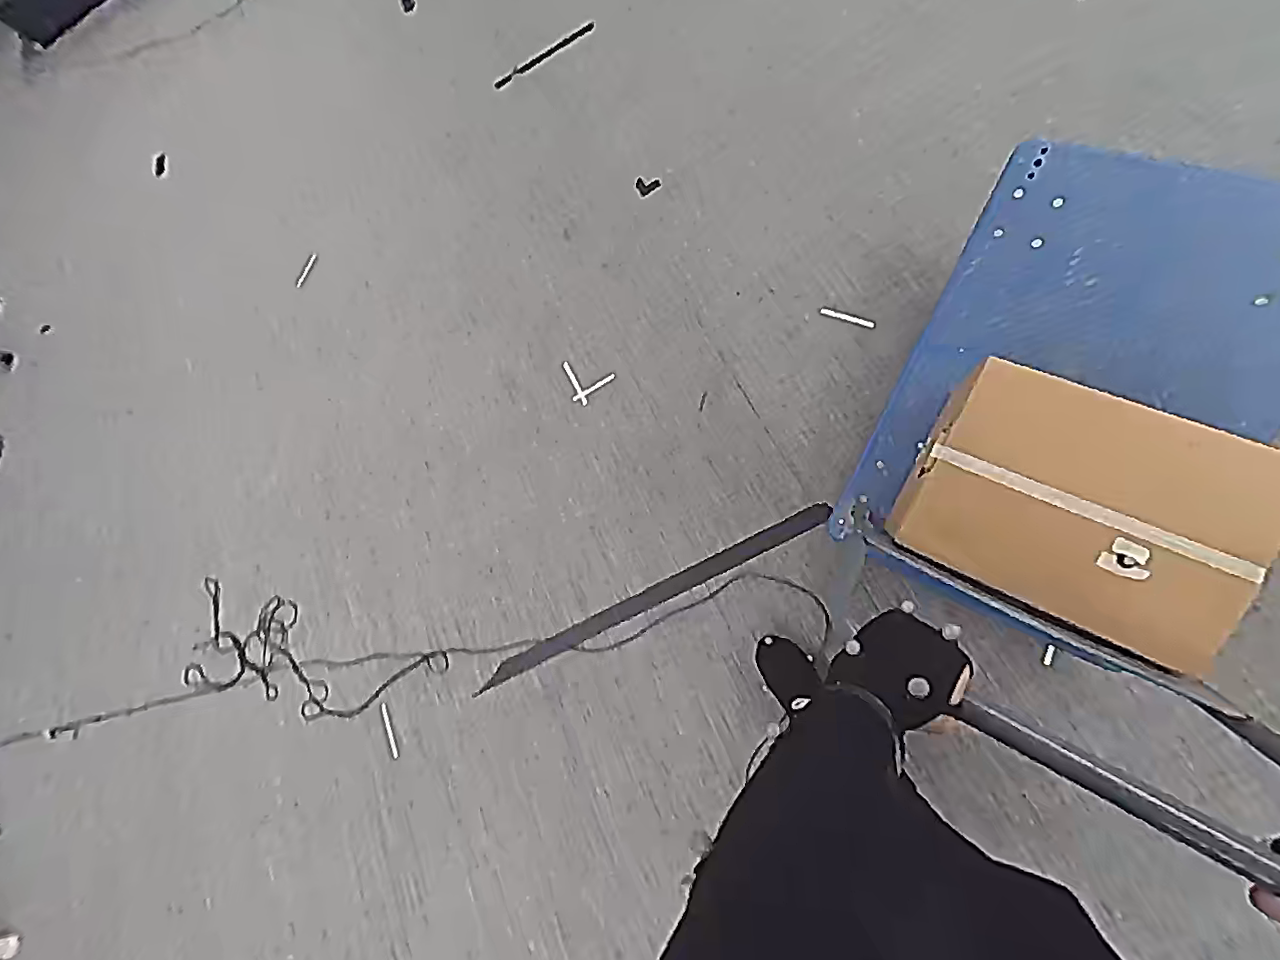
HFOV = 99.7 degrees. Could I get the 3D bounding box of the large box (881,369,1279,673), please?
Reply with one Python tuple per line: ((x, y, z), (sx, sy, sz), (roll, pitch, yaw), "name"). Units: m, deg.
((0.678, 0.048, 0.914), (0.408, 0.320, 0.320), (26, 99, 19), "large box")
